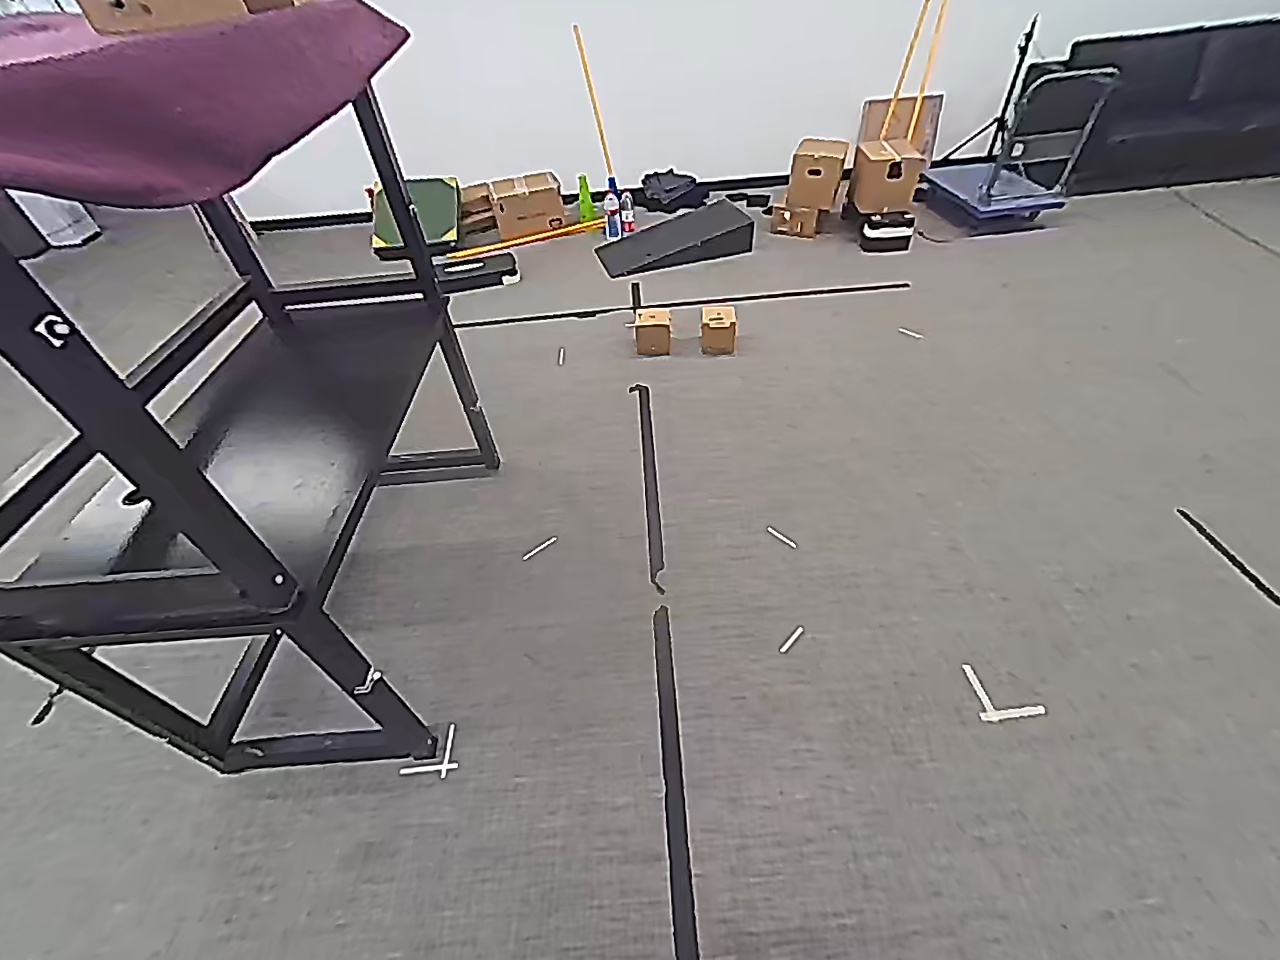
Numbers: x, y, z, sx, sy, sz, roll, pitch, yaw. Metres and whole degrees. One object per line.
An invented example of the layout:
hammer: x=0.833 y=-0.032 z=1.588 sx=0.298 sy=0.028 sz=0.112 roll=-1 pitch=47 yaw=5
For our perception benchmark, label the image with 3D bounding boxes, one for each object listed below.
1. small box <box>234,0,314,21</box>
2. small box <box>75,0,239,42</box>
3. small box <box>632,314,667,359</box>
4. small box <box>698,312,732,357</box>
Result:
small box: x=-0.798 y=-1.032 z=1.078 sx=0.179 sy=0.176 sz=0.168 roll=-9 pitch=45 yaw=-3
small box: x=-0.794 y=-0.817 z=0.862 sx=0.168 sy=0.176 sz=0.179 roll=-3 pitch=45 yaw=4
small box: x=0.052 y=-0.741 z=2.801 sx=0.179 sy=0.176 sz=0.168 roll=0 pitch=44 yaw=3
small box: x=0.383 y=-0.746 z=2.781 sx=0.168 sy=0.176 sz=0.179 roll=0 pitch=44 yaw=4
